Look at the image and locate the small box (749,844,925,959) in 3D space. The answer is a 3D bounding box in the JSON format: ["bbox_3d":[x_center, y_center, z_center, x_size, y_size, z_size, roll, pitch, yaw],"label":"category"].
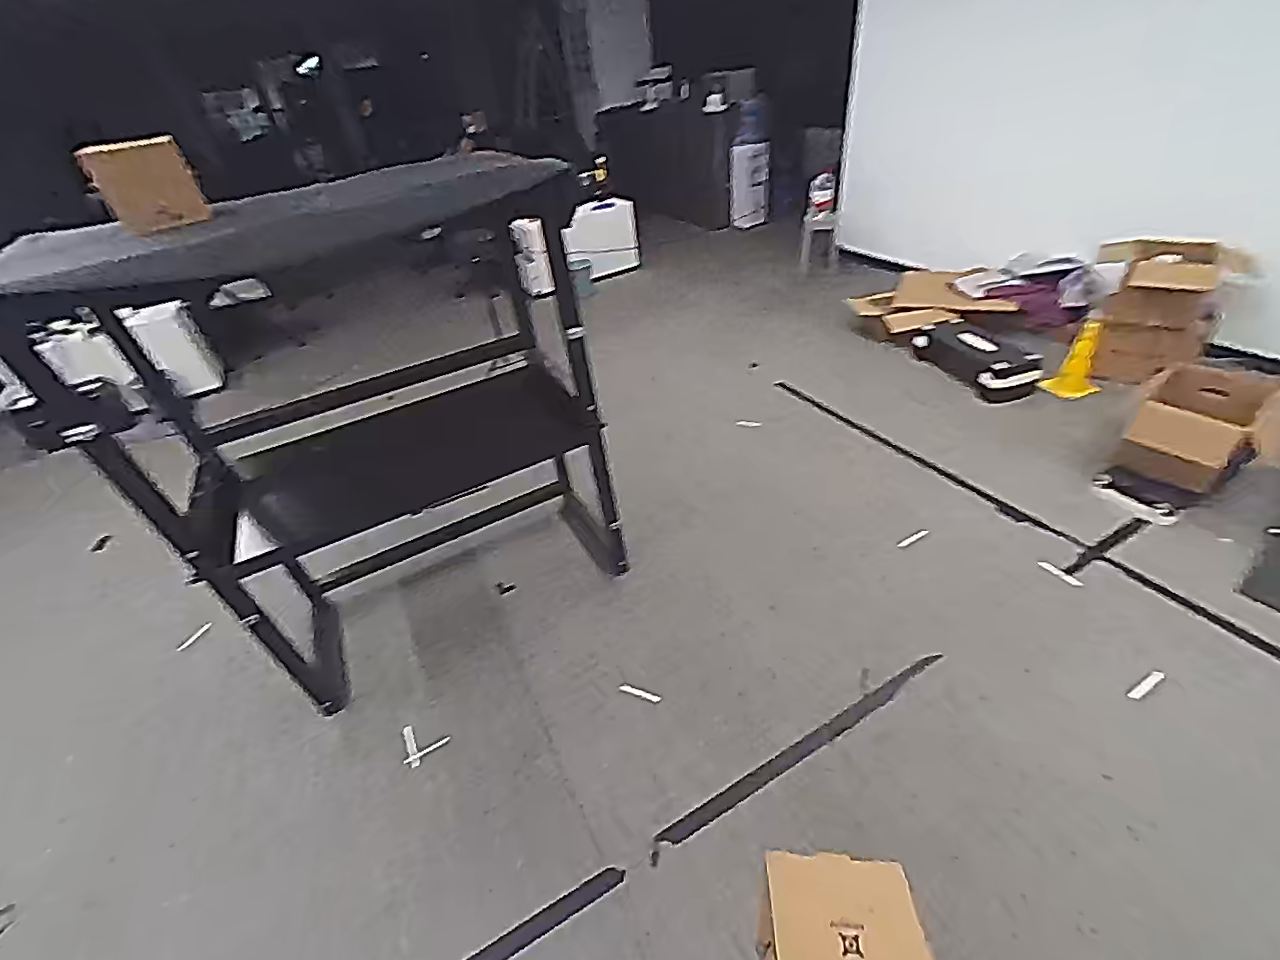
[{"bbox_3d":[0.217,0.562,0.616,0.168,0.176,0.179,1,21,5],"label":"small box"}]
